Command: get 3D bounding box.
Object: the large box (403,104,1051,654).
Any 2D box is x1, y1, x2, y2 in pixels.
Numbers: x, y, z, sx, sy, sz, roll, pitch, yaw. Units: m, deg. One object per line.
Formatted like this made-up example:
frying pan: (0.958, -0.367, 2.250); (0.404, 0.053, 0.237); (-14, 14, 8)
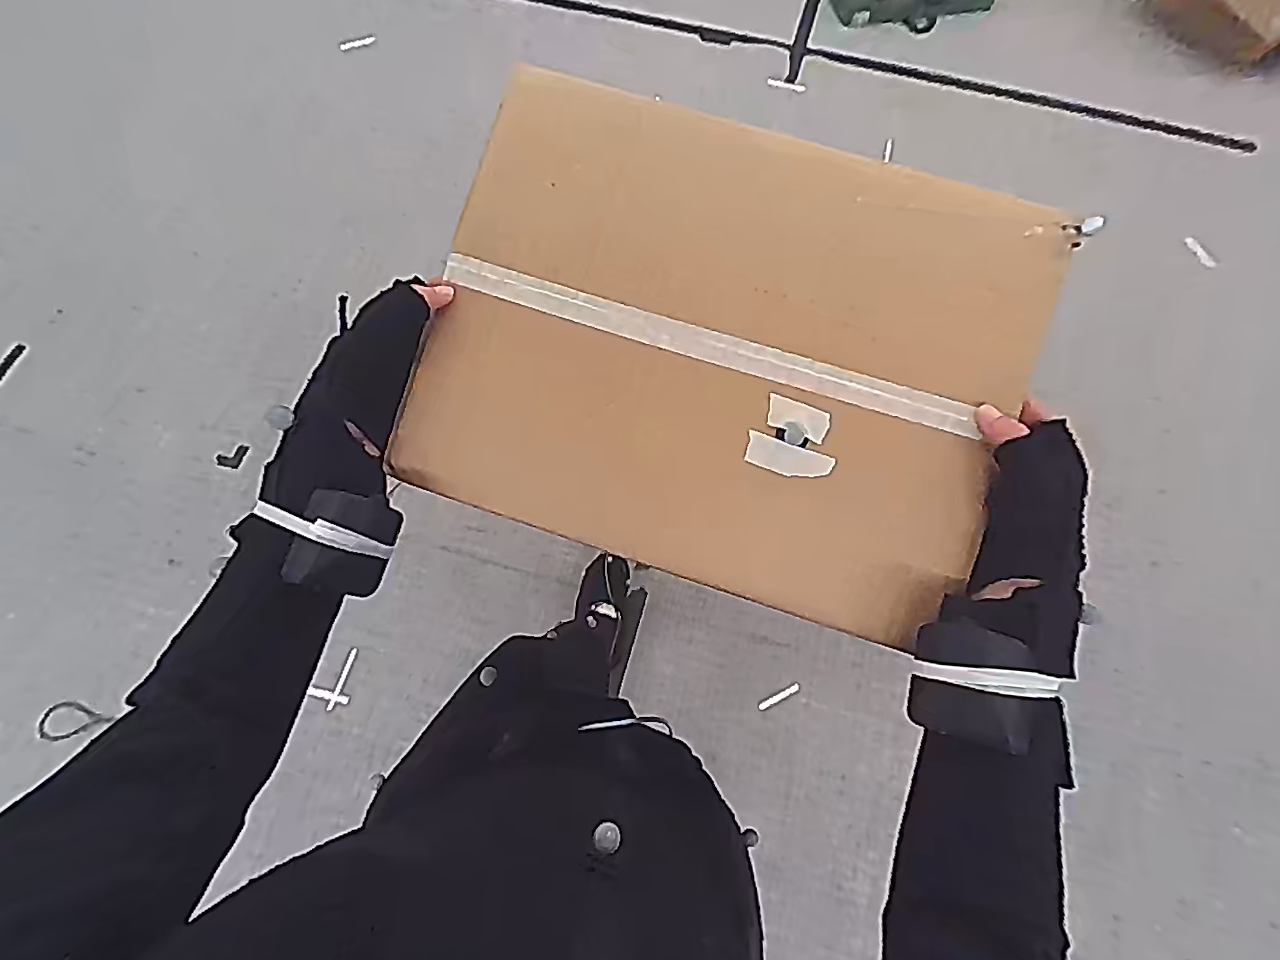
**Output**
large box: (0.063, -0.074, 0.535); (0.408, 0.320, 0.320); (18, 90, 3)
